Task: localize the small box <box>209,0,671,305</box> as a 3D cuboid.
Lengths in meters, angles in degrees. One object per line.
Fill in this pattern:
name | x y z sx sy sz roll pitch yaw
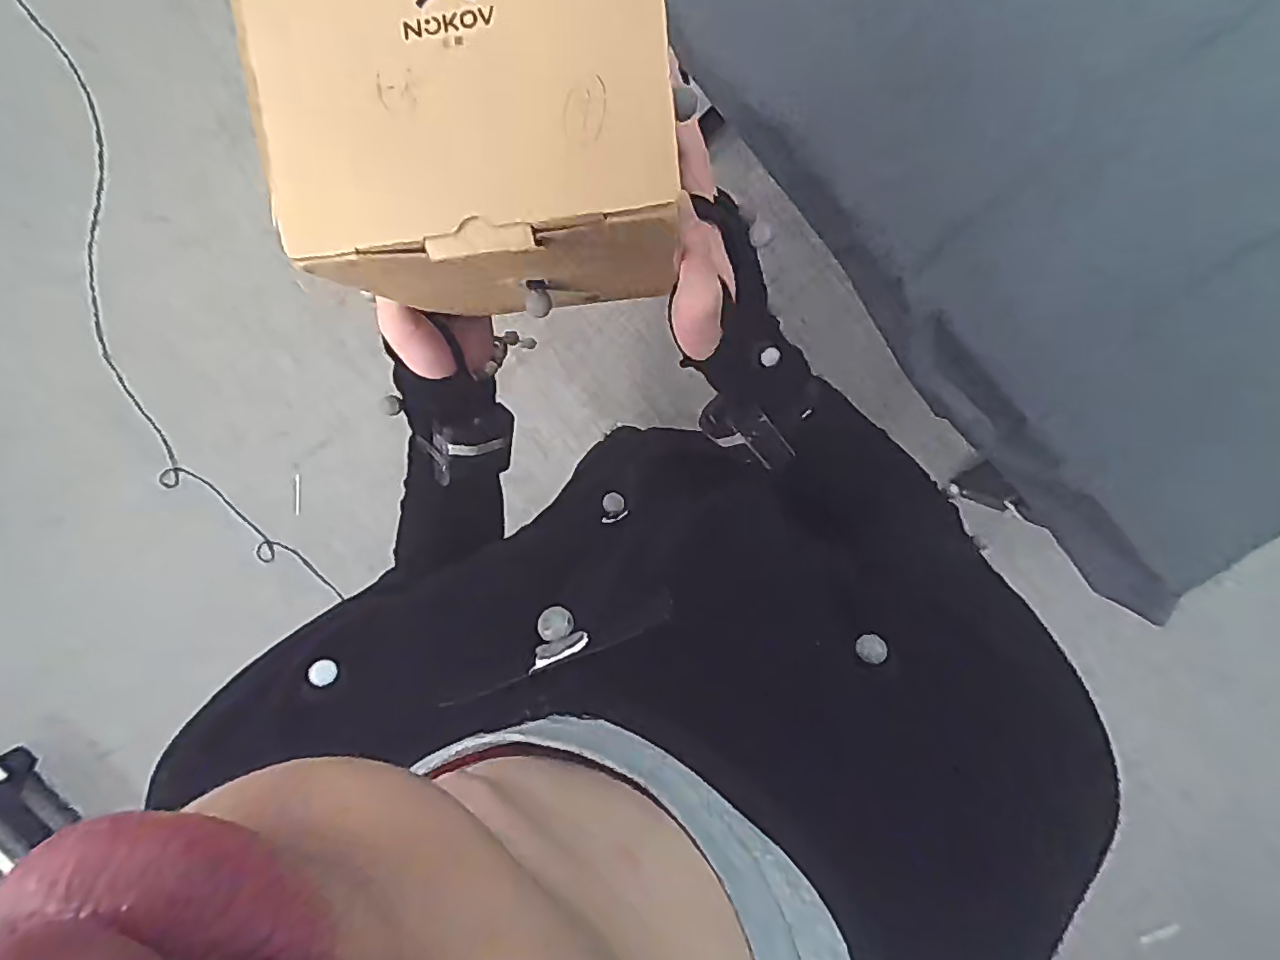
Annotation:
small box | -0.072 -0.191 0.274 0.168 0.176 0.179 -5 100 4
